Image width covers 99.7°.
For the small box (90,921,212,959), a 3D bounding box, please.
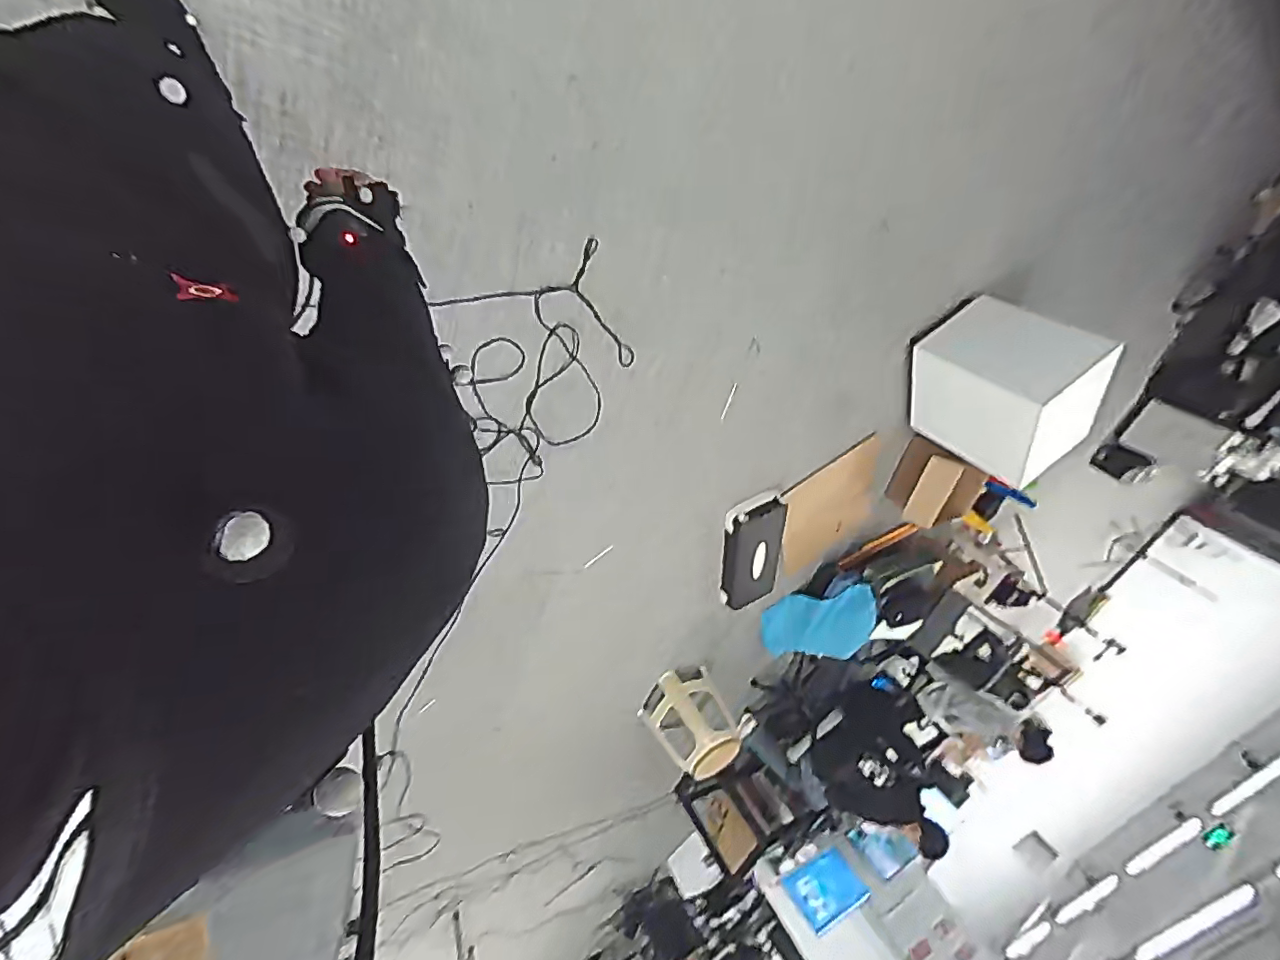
[{"bbox_3d":[-0.800,0.863,0.870,0.168,0.176,0.179,2,123,-38],"label":"small box"}]
